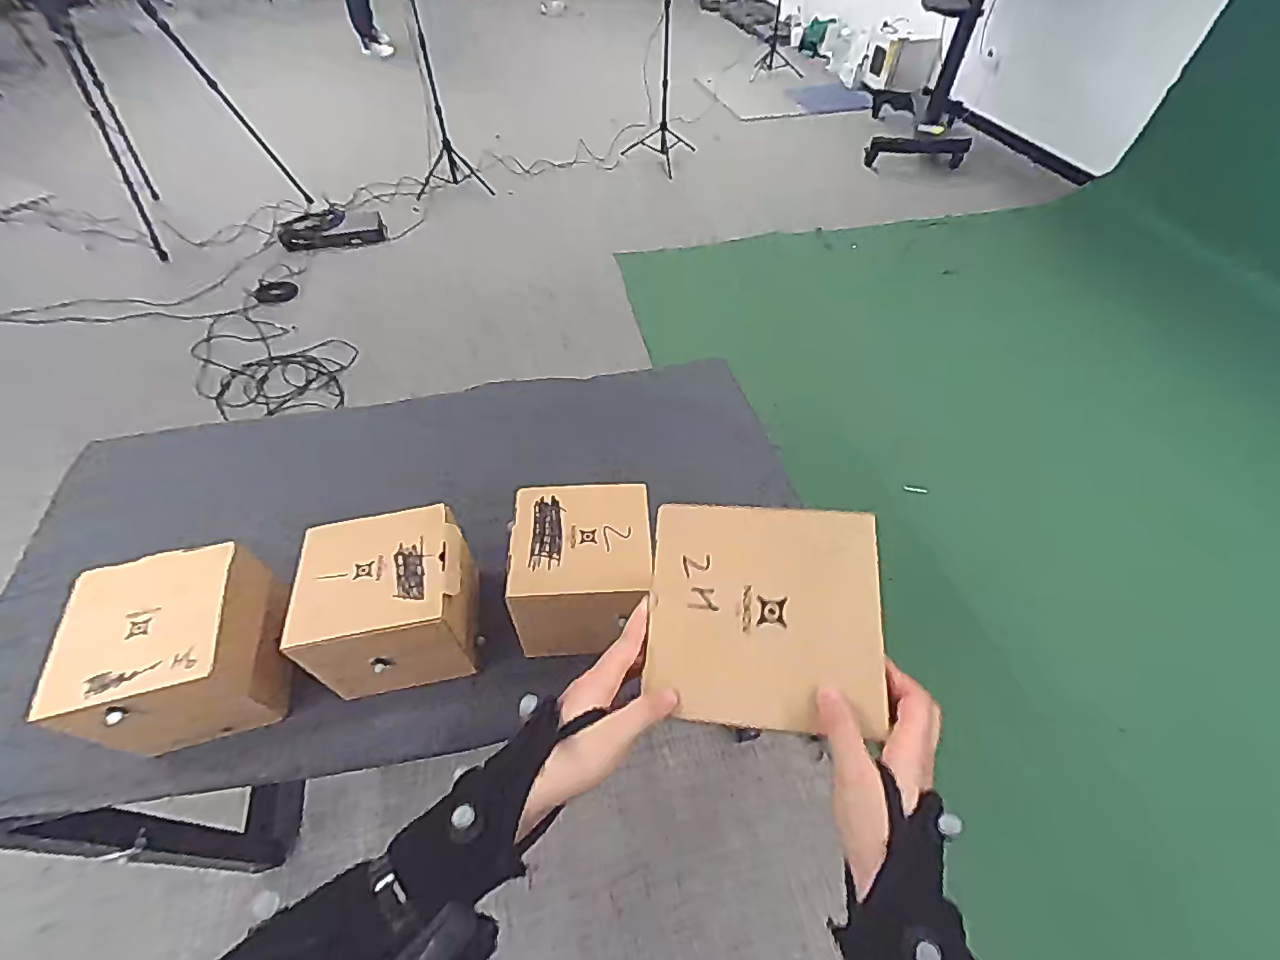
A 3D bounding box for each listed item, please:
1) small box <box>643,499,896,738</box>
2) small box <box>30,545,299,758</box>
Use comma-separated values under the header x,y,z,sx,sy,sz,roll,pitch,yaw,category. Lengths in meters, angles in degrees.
x,y,z,sx,sy,sz,roll,pitch,yaw,category
0.108,0.126,0.479,0.179,0.176,0.168,2,66,11,small box
-0.548,0.211,0.661,0.168,0.176,0.179,-13,52,-9,small box
